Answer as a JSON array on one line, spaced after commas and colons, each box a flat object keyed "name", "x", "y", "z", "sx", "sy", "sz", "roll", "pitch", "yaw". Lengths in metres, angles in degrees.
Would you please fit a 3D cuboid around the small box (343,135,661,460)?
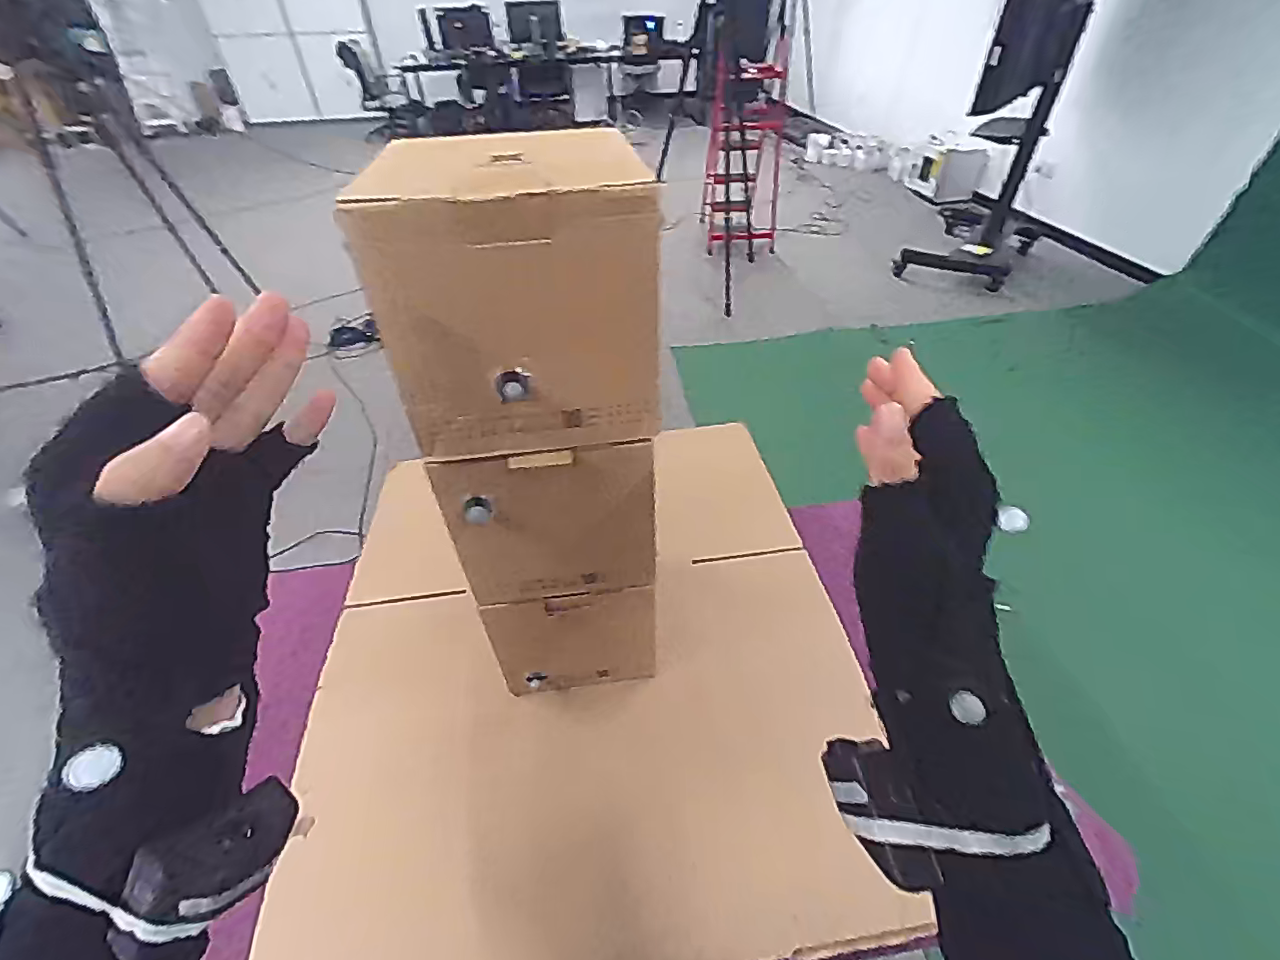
[{"name": "small box", "x": -0.081, "y": -0.136, "z": 0.394, "sx": 0.168, "sy": 0.176, "sz": 0.179, "roll": -7, "pitch": 42, "yaw": -6}]

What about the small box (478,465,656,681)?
[{"name": "small box", "x": -0.074, "y": 0.109, "z": 0.611, "sx": 0.168, "sy": 0.176, "sz": 0.179, "roll": -6, "pitch": 42, "yaw": -4}]
